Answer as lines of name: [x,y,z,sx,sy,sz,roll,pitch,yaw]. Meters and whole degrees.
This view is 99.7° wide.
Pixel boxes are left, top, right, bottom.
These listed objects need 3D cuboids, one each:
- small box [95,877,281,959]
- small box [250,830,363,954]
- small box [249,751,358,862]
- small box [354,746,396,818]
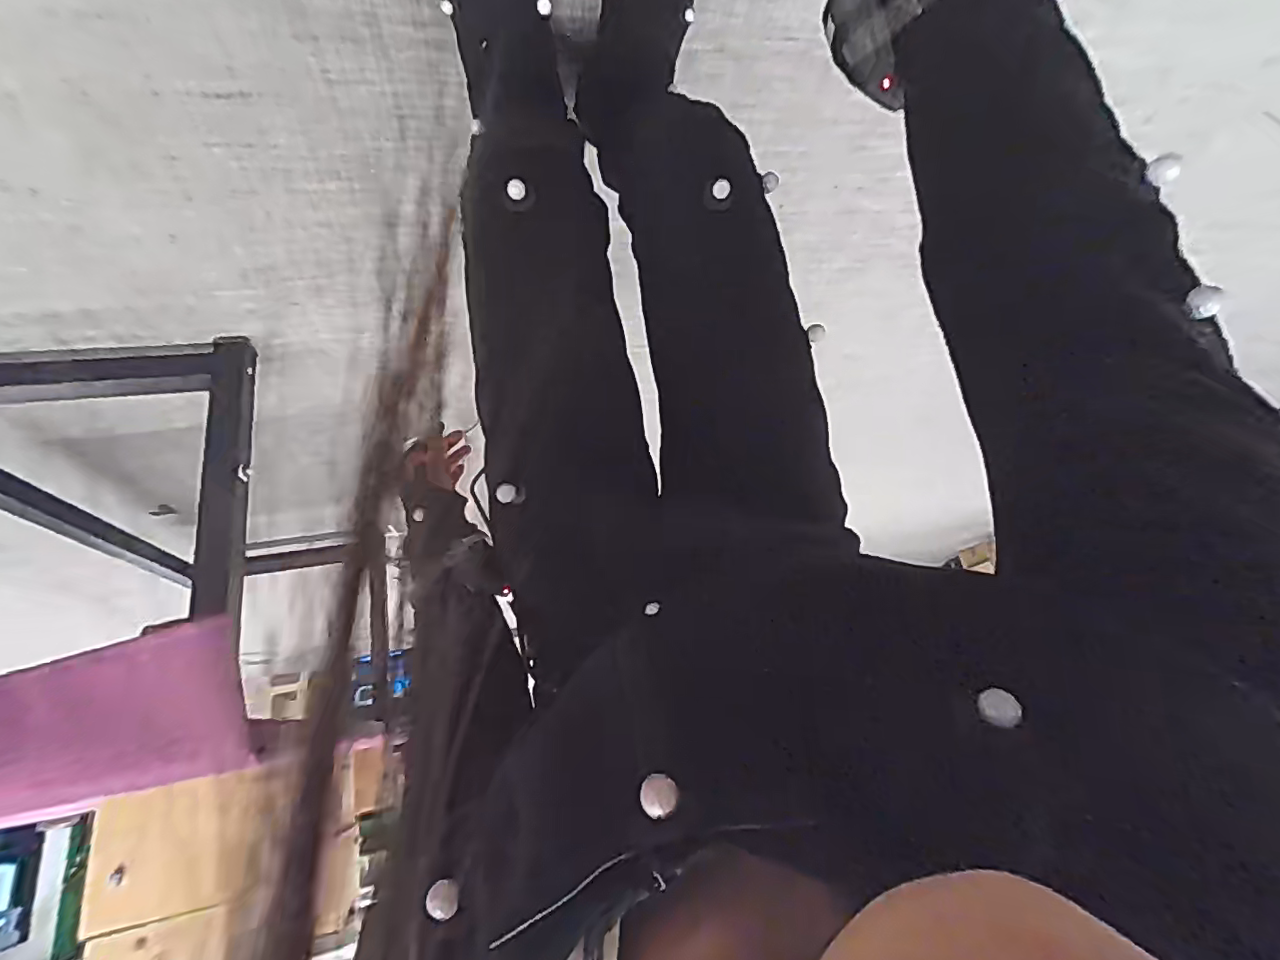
small box: [-0.627,0.693,0.762,0.168,0.176,0.179,-6,158,-17]
small box: [-0.708,0.868,1.155,0.179,0.176,0.168,-6,158,-16]
small box: [-0.750,0.720,1.216,0.168,0.176,0.179,-7,158,-16]
small box: [-0.817,0.873,1.559,0.179,0.176,0.168,-6,156,-15]
